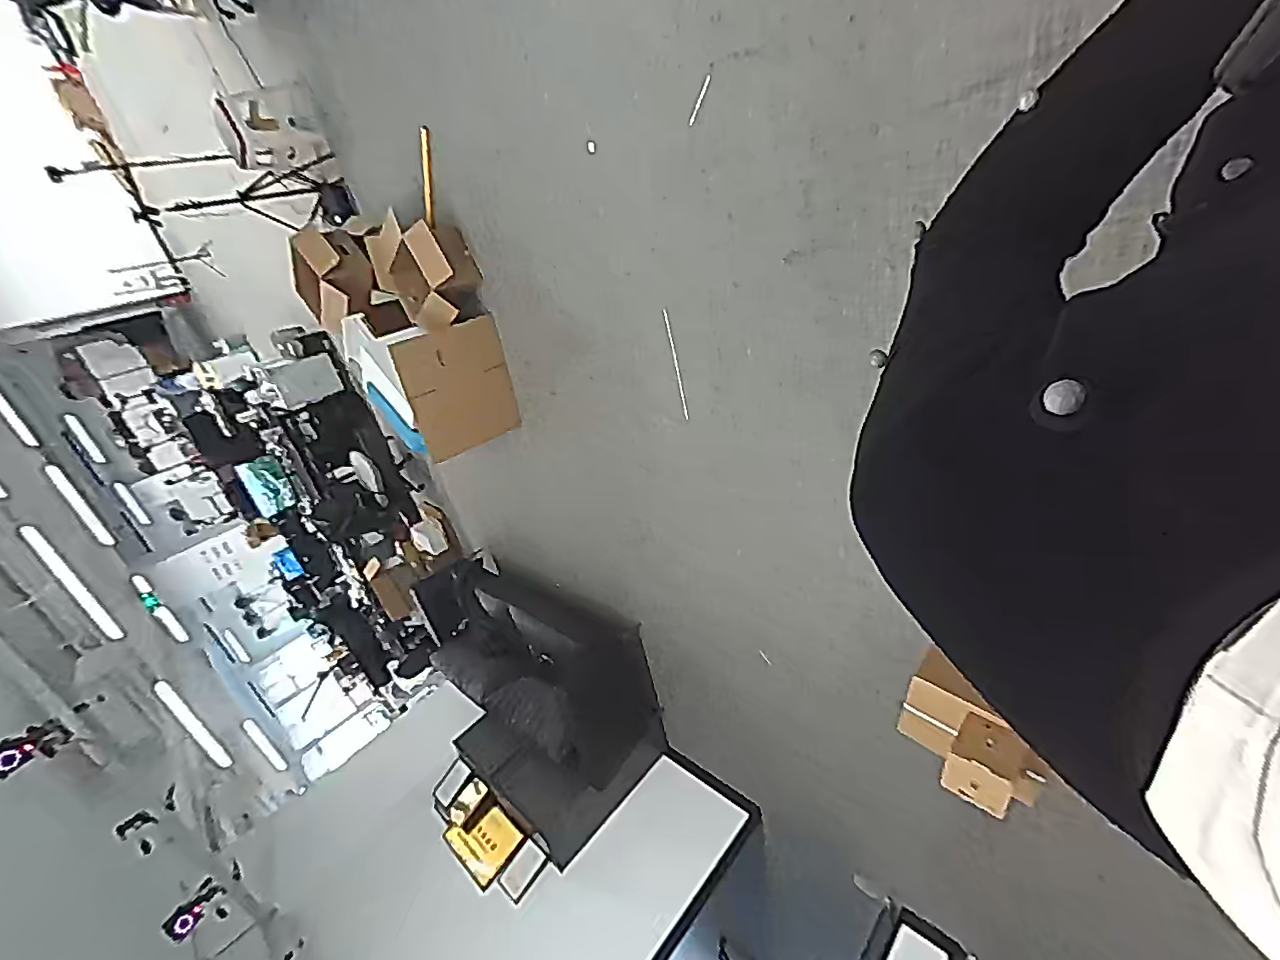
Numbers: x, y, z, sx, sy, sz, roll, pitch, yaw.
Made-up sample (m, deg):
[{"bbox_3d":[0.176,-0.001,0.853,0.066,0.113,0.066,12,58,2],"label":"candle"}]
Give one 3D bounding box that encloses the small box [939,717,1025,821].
[{"bbox_3d":[1.010,0.843,1.597,0.168,0.176,0.179,20,129,40],"label":"small box"}]
